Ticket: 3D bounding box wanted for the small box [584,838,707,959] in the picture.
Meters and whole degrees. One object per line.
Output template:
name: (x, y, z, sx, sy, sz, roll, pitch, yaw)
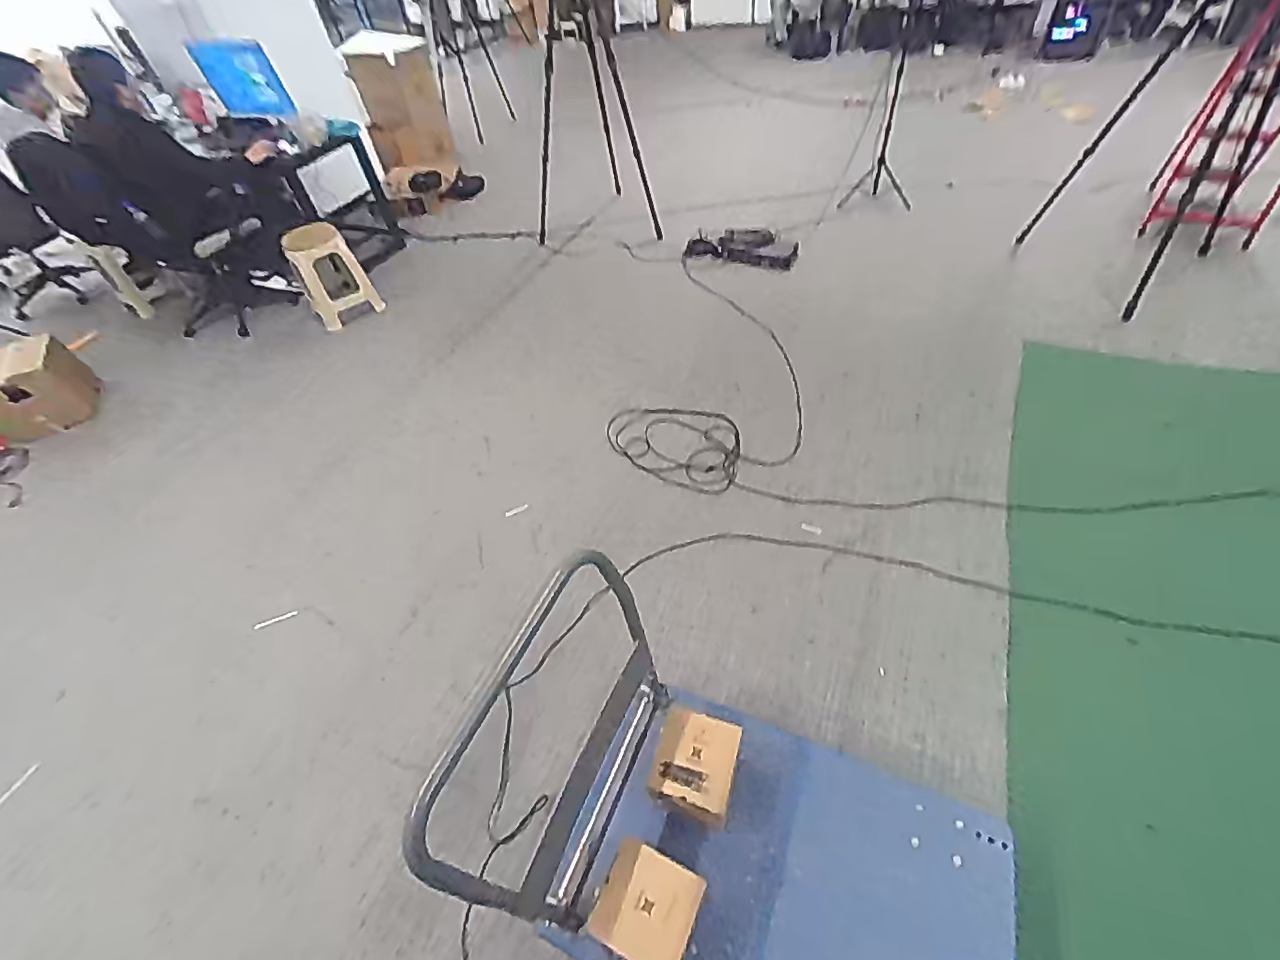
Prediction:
small box: (0.018, 0.834, 1.040, 0.179, 0.176, 0.168, 18, 53, 21)
